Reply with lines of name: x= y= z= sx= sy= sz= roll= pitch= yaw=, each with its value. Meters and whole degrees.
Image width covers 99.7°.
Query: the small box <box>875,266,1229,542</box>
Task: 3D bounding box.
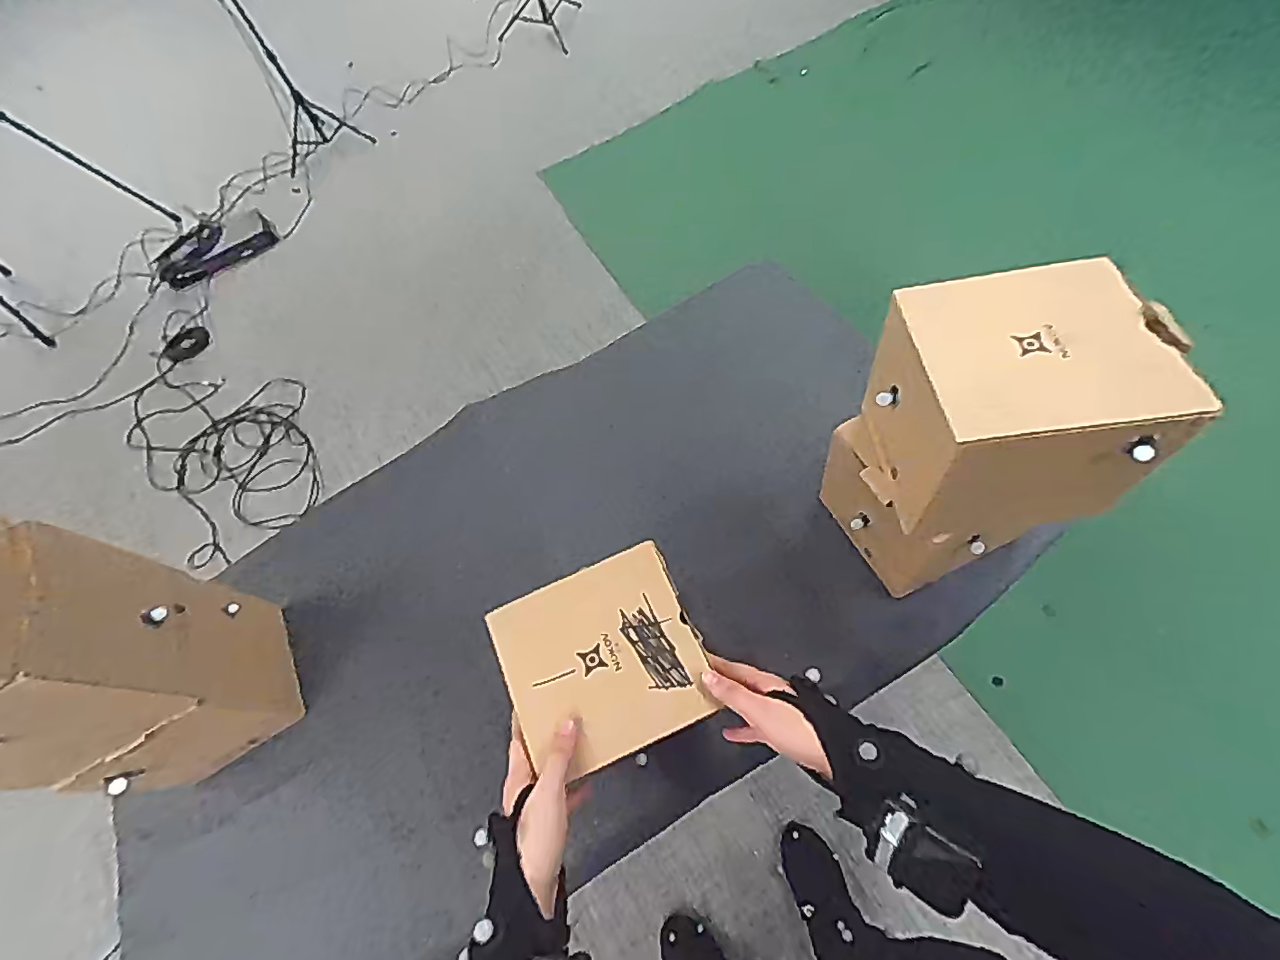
small box: x=0.323 y=-0.056 z=0.482 sx=0.179 sy=0.176 sz=0.168 roll=-7 pitch=58 yaw=7

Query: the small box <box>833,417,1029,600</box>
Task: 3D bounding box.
small box: x=0.343 y=0.015 z=0.629 sx=0.179 sy=0.176 sz=0.168 roll=-26 pitch=58 yaw=-3

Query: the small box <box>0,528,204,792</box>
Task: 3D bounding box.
small box: x=-0.580 y=0.182 z=0.523 sx=0.179 sy=0.176 sz=0.168 roll=-30 pitch=63 yaw=-7

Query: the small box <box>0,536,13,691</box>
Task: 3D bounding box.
small box: x=-0.611 y=0.111 z=0.380 sx=0.168 sy=0.176 sz=0.179 roll=-34 pitch=61 yaw=-9

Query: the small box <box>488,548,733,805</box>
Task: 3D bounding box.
small box: x=-0.026 y=0.191 z=0.546 sx=0.179 sy=0.176 sz=0.168 roll=-23 pitch=68 yaw=-4
